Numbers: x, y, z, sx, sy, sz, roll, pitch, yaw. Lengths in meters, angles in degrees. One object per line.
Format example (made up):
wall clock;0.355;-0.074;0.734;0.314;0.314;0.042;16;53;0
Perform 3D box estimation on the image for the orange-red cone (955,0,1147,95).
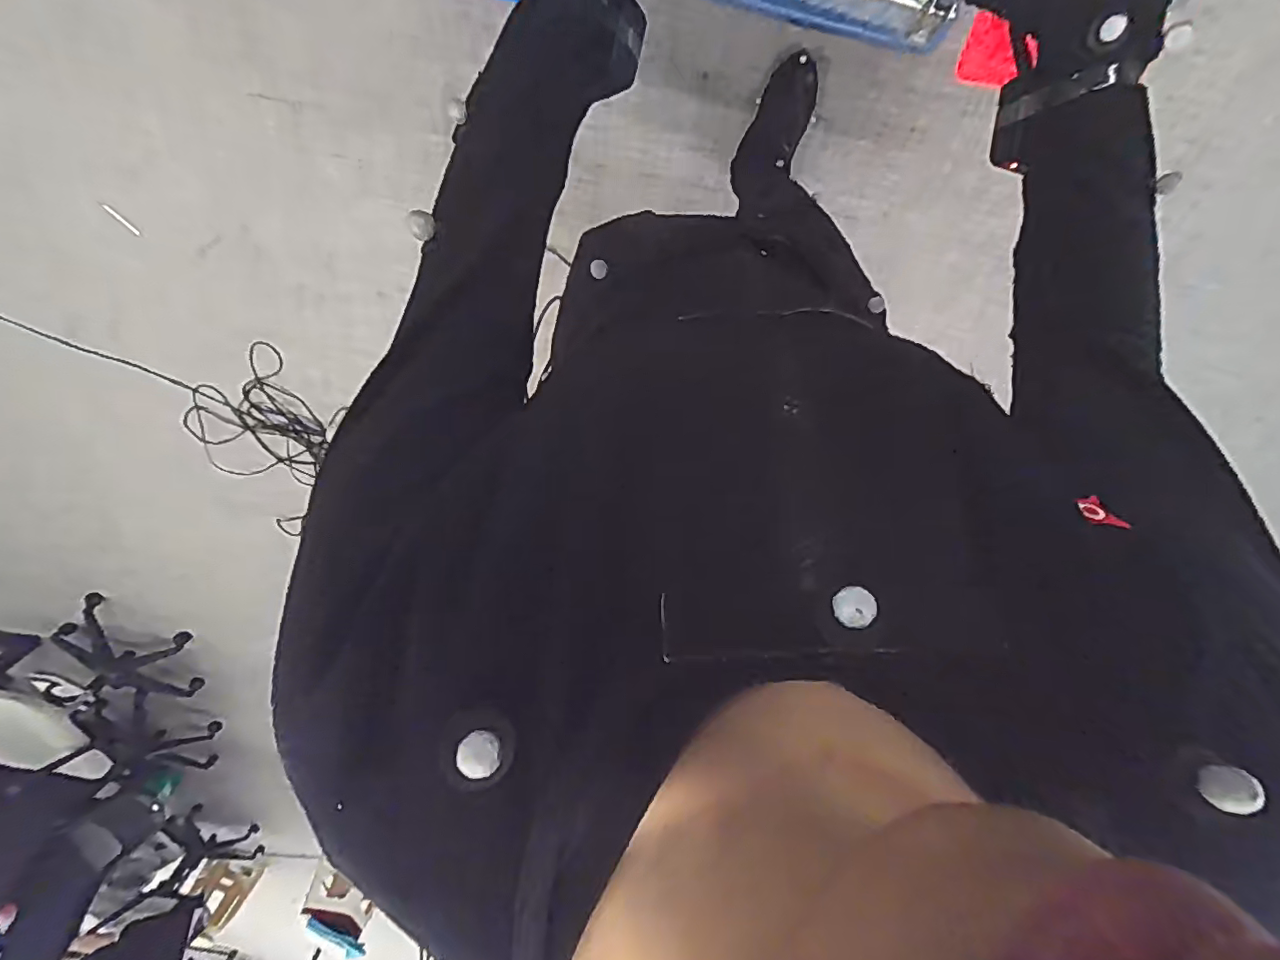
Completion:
orange-red cone;0.695;-0.752;0.862;0.199;0.360;0.198;13;125;1
